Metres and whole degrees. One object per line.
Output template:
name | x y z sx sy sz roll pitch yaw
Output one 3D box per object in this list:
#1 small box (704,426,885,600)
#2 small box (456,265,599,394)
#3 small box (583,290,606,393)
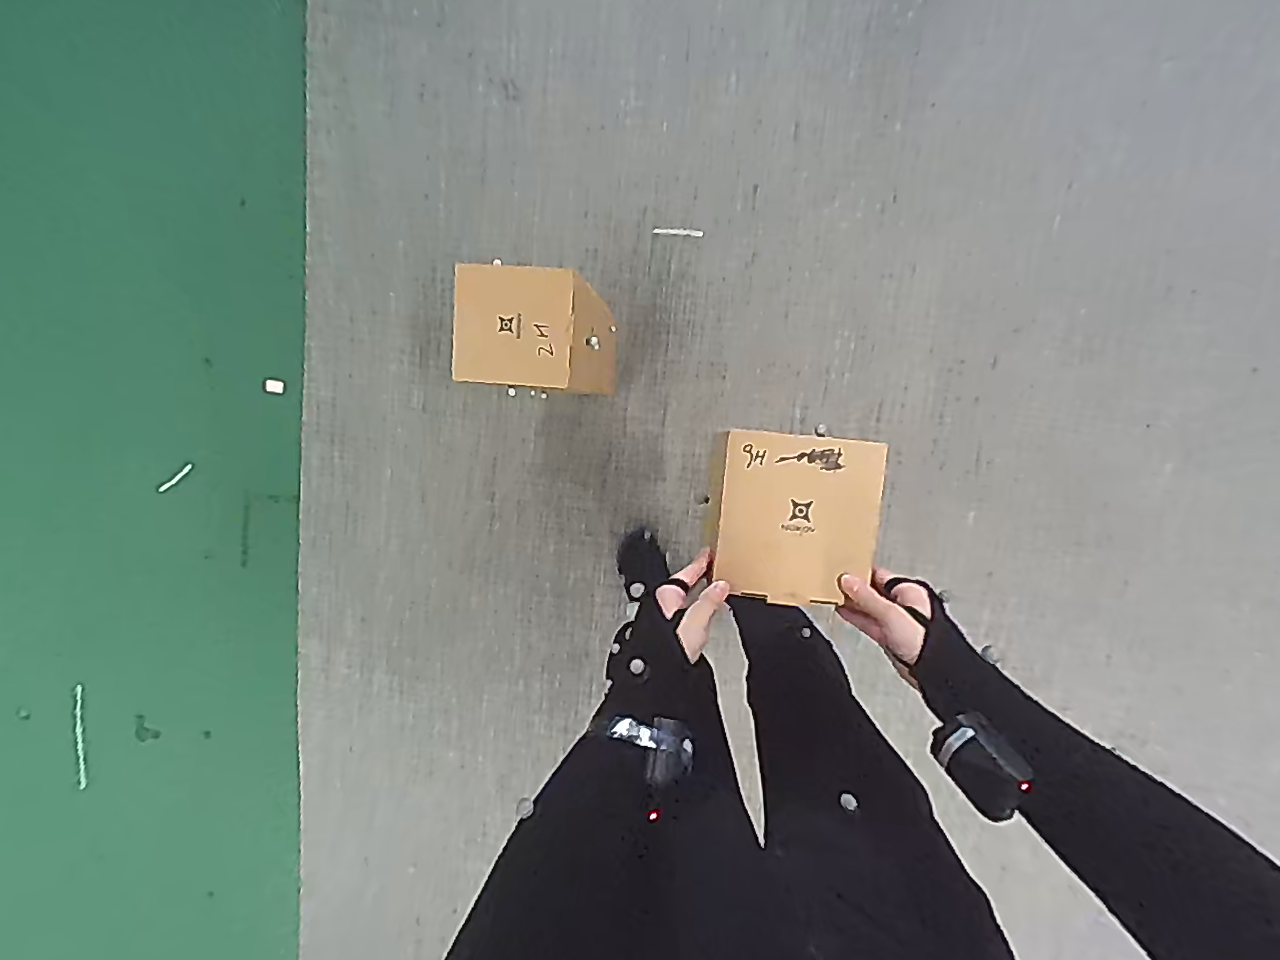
small box | 0.171 0.029 0.653 0.168 0.176 0.179 5 95 1
small box | -0.169 -0.226 0.848 0.179 0.176 0.168 5 97 4
small box | -0.158 -0.256 1.011 0.168 0.176 0.179 4 96 4
